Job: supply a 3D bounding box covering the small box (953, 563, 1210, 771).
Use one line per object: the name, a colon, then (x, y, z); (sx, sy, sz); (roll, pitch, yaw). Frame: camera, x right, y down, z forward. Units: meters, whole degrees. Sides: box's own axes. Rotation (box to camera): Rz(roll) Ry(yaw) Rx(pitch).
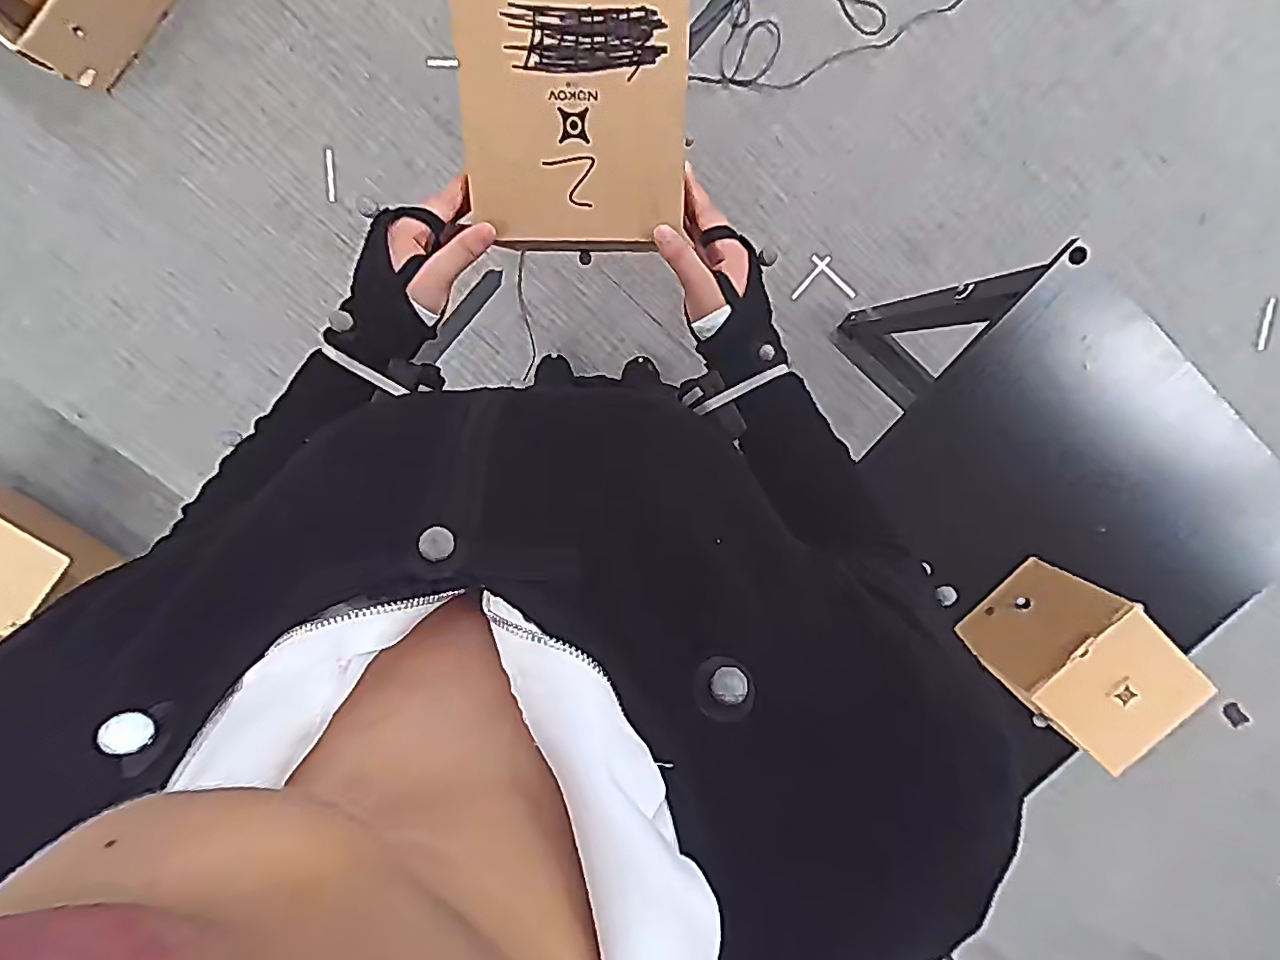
small box: (0.587, 0.242, 0.743); (0.179, 0.176, 0.168); (41, 97, -8)
